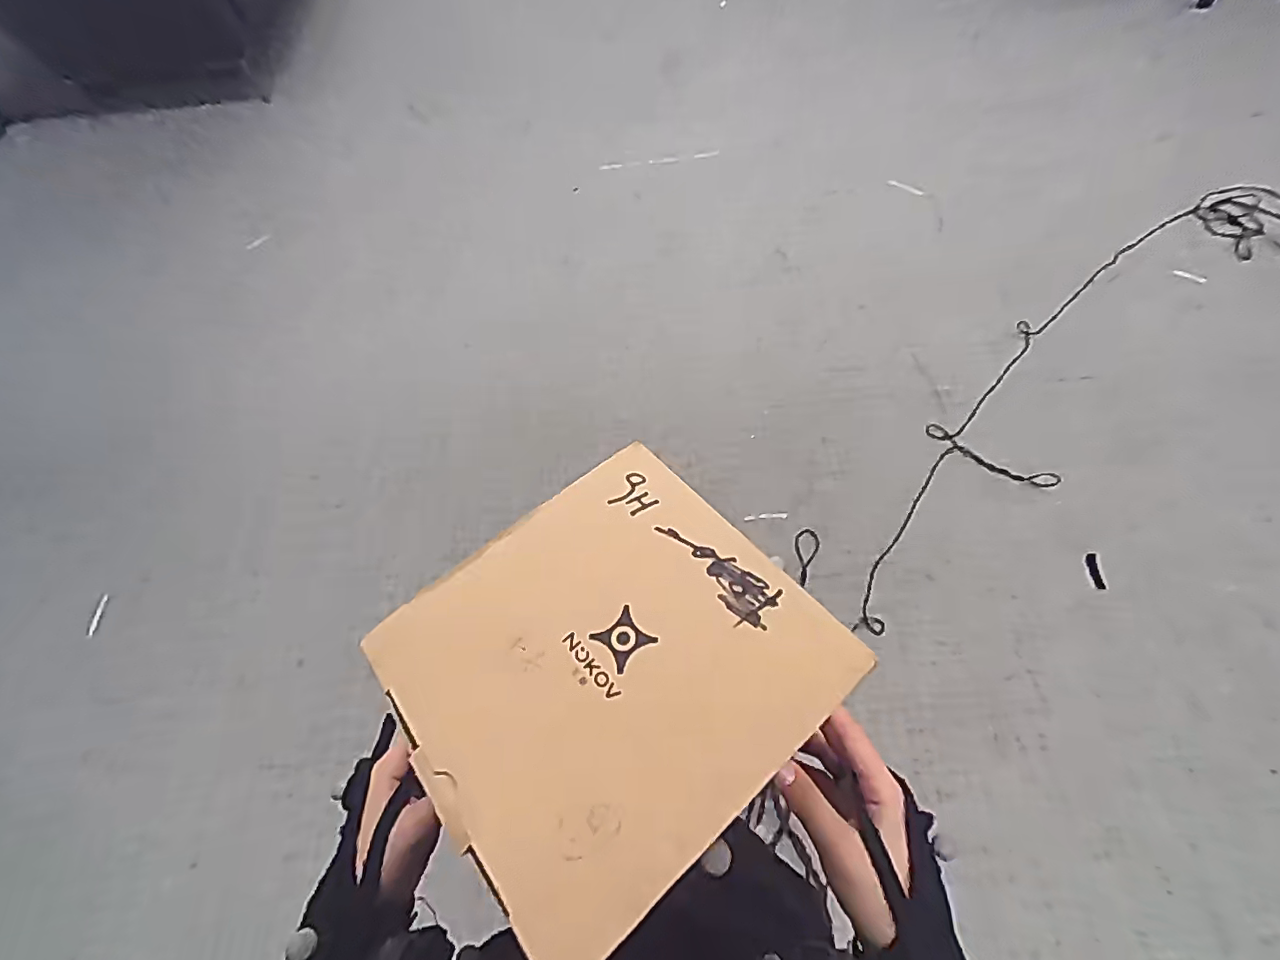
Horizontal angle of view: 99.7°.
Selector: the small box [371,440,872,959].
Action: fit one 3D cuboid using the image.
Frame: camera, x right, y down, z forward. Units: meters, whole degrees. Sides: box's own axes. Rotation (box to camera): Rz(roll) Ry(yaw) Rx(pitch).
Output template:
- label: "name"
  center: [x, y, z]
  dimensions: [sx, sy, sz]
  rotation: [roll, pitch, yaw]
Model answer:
- label: "small box"
  center: [-0.006, 0.118, 0.310]
  dimensions: [0.179, 0.176, 0.168]
  rotation: [-36, 60, -17]
